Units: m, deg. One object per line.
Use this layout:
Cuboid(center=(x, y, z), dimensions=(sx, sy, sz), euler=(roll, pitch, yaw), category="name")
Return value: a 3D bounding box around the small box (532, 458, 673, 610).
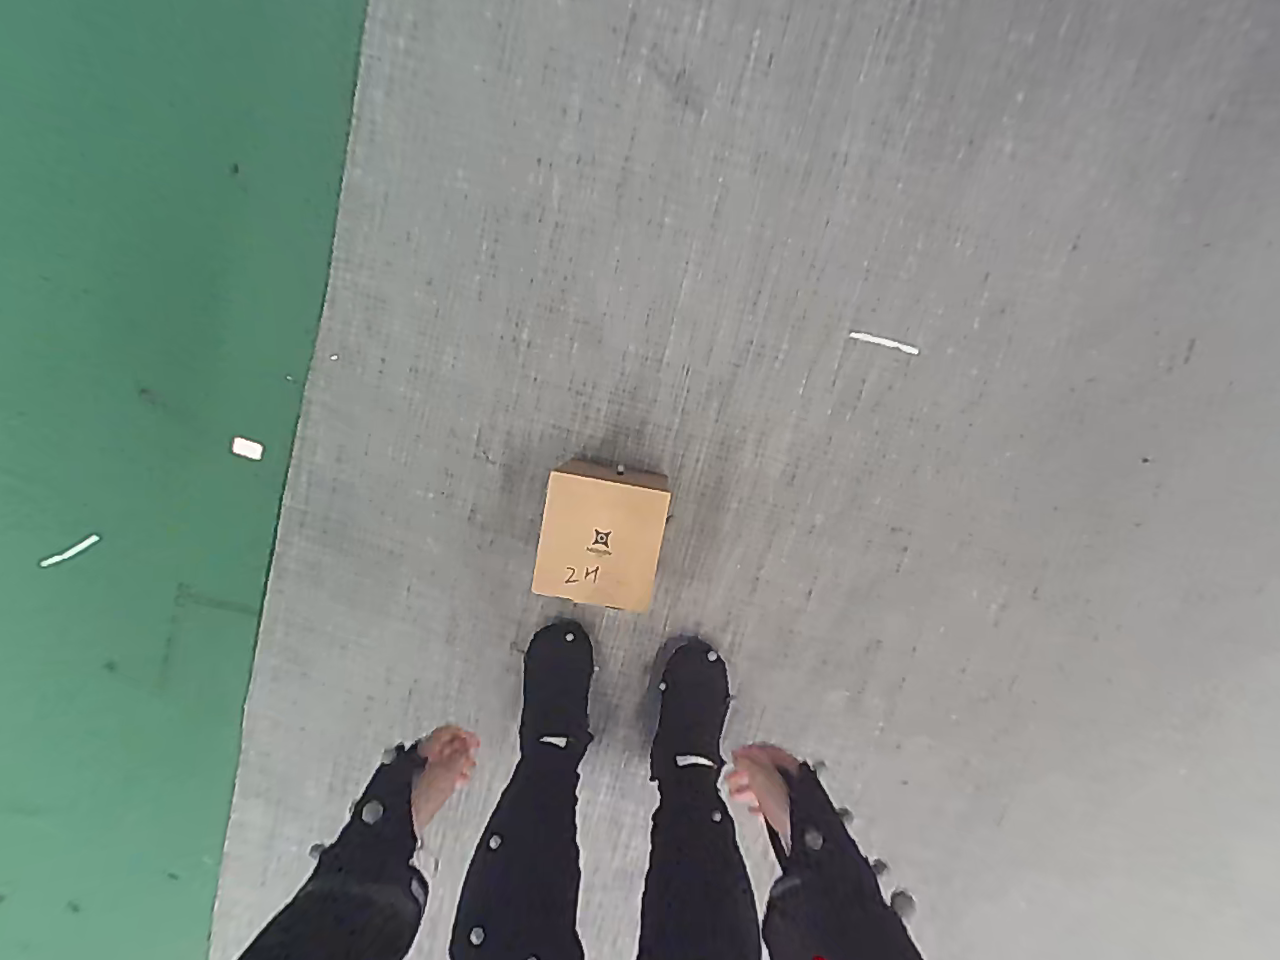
Cuboid(center=(-0.051, 0.068, 0.804), dimensions=(0.168, 0.176, 0.179), euler=(11, 98, 0), category="small box")
